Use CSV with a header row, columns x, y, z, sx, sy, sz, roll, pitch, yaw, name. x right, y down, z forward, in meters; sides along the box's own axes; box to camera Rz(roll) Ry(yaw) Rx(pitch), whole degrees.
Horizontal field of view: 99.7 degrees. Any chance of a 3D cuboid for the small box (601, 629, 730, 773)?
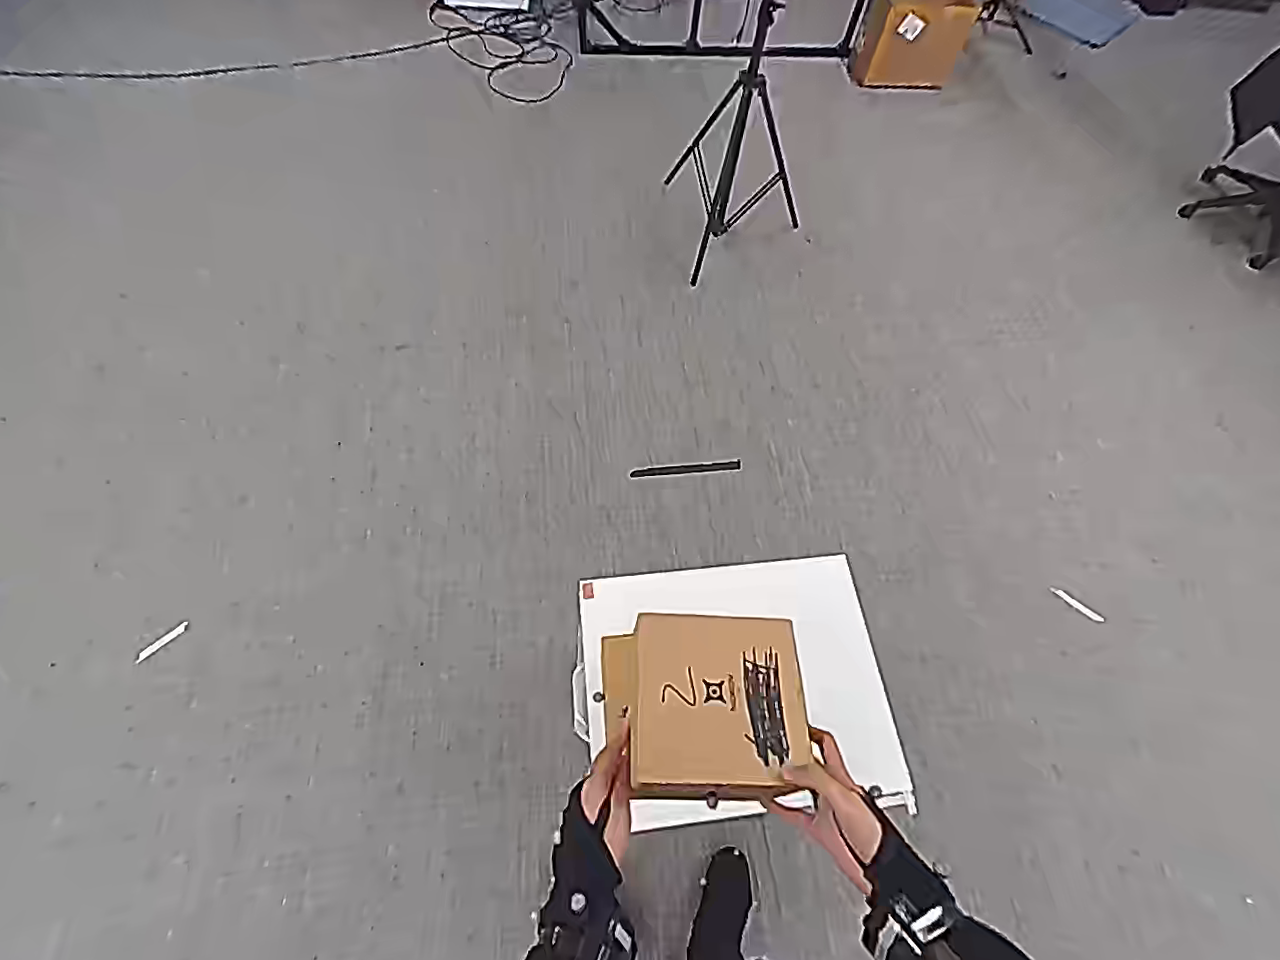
x,y,z,sx,sy,sz,roll,pitch,yaw,name
0.029,0.335,0.822,0.168,0.176,0.179,-4,64,-6,small box
